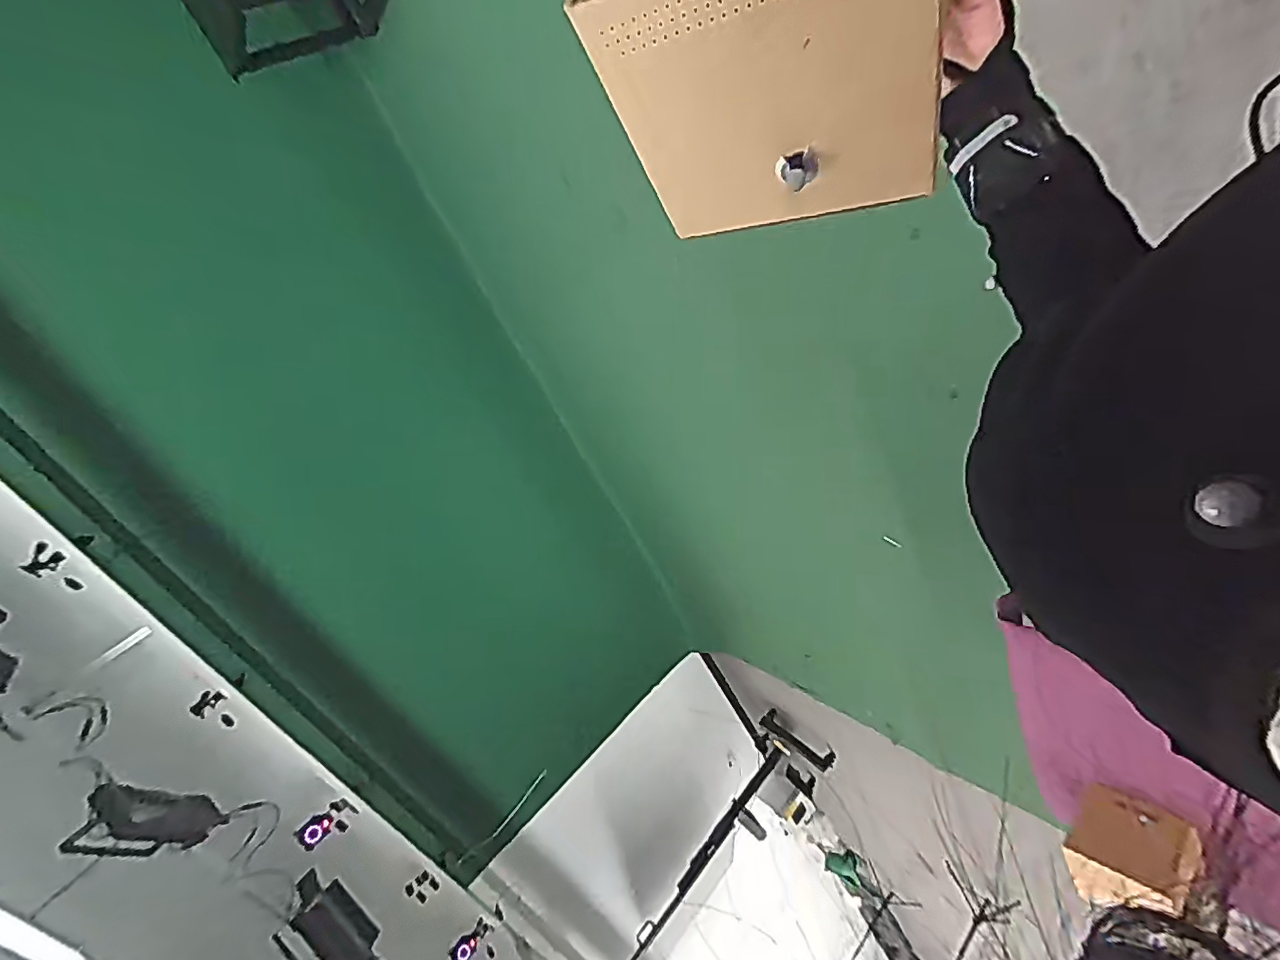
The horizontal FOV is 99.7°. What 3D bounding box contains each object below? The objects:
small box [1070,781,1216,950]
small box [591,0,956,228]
[{"bbox_3d":[0.997,0.749,1.070,0.168,0.176,0.179,2,126,58],"label":"small box"},{"bbox_3d":[0.090,-0.291,0.324,0.179,0.168,0.176,2,161,27],"label":"small box"}]
